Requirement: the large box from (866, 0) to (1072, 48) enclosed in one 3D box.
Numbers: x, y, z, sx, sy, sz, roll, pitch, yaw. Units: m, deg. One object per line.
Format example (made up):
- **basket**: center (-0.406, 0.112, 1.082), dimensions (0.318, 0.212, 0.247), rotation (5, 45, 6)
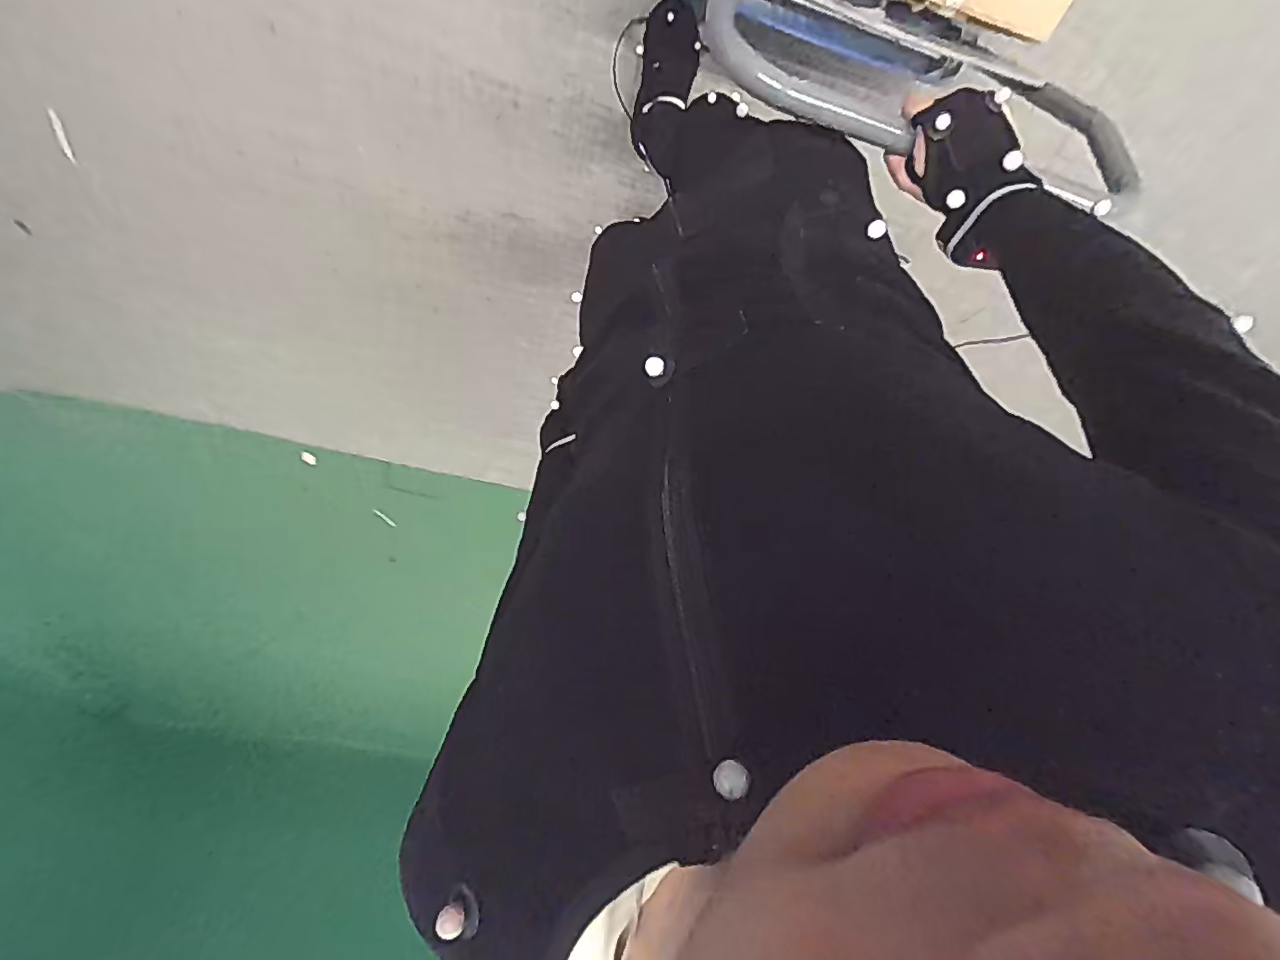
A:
- **large box**: center (0.479, -0.881, 0.722), dimensions (0.320, 0.320, 0.408), rotation (12, 133, -9)
